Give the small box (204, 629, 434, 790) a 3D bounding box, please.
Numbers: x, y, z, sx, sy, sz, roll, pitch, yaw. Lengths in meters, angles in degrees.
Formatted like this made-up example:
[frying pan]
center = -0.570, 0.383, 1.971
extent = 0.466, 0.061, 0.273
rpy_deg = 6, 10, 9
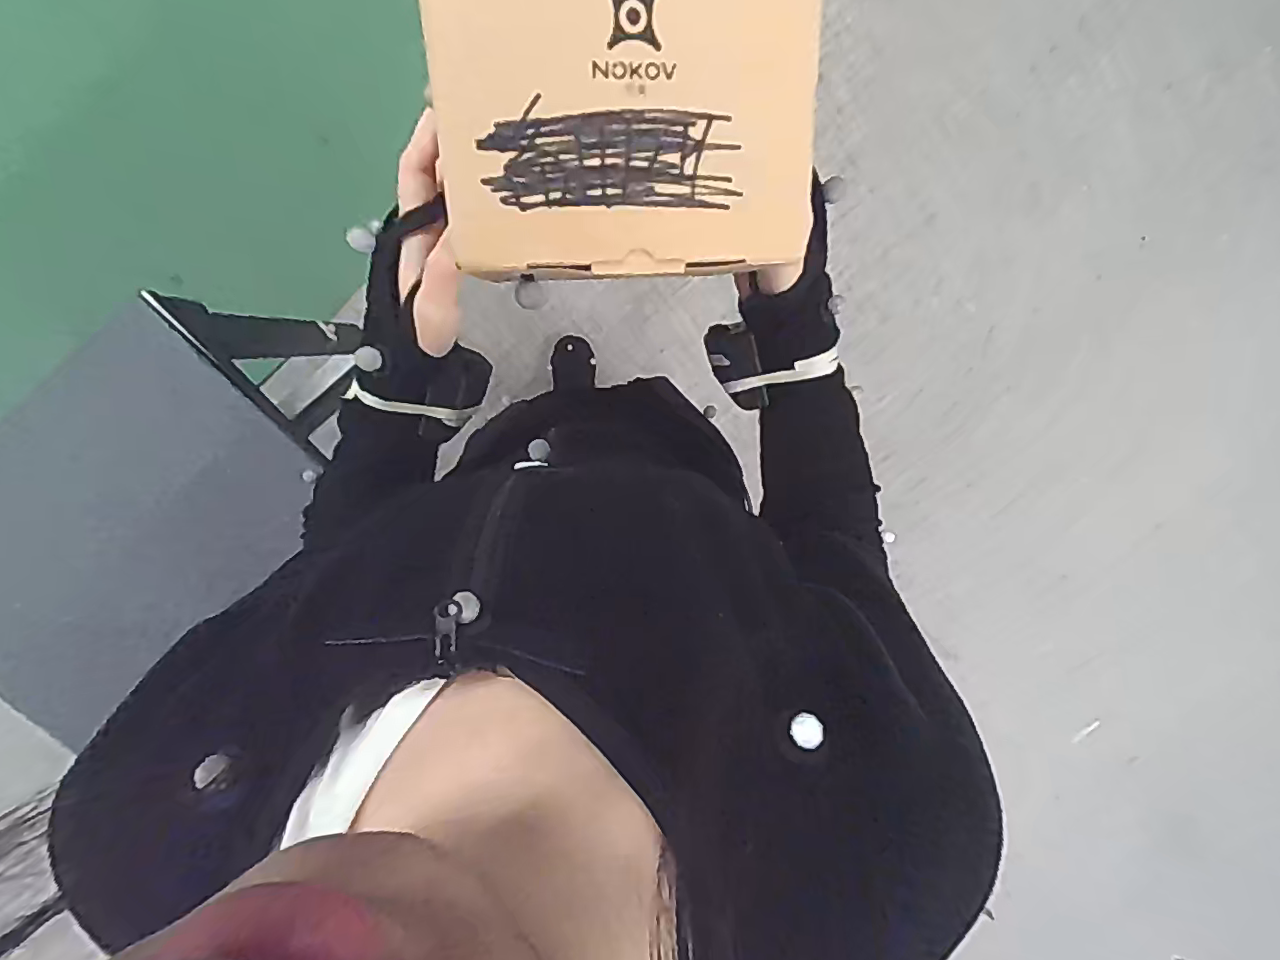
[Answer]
[small box]
center = -0.415, 0.343, 0.737
extent = 0.179, 0.176, 0.168
rpy_deg = -39, 104, 6
